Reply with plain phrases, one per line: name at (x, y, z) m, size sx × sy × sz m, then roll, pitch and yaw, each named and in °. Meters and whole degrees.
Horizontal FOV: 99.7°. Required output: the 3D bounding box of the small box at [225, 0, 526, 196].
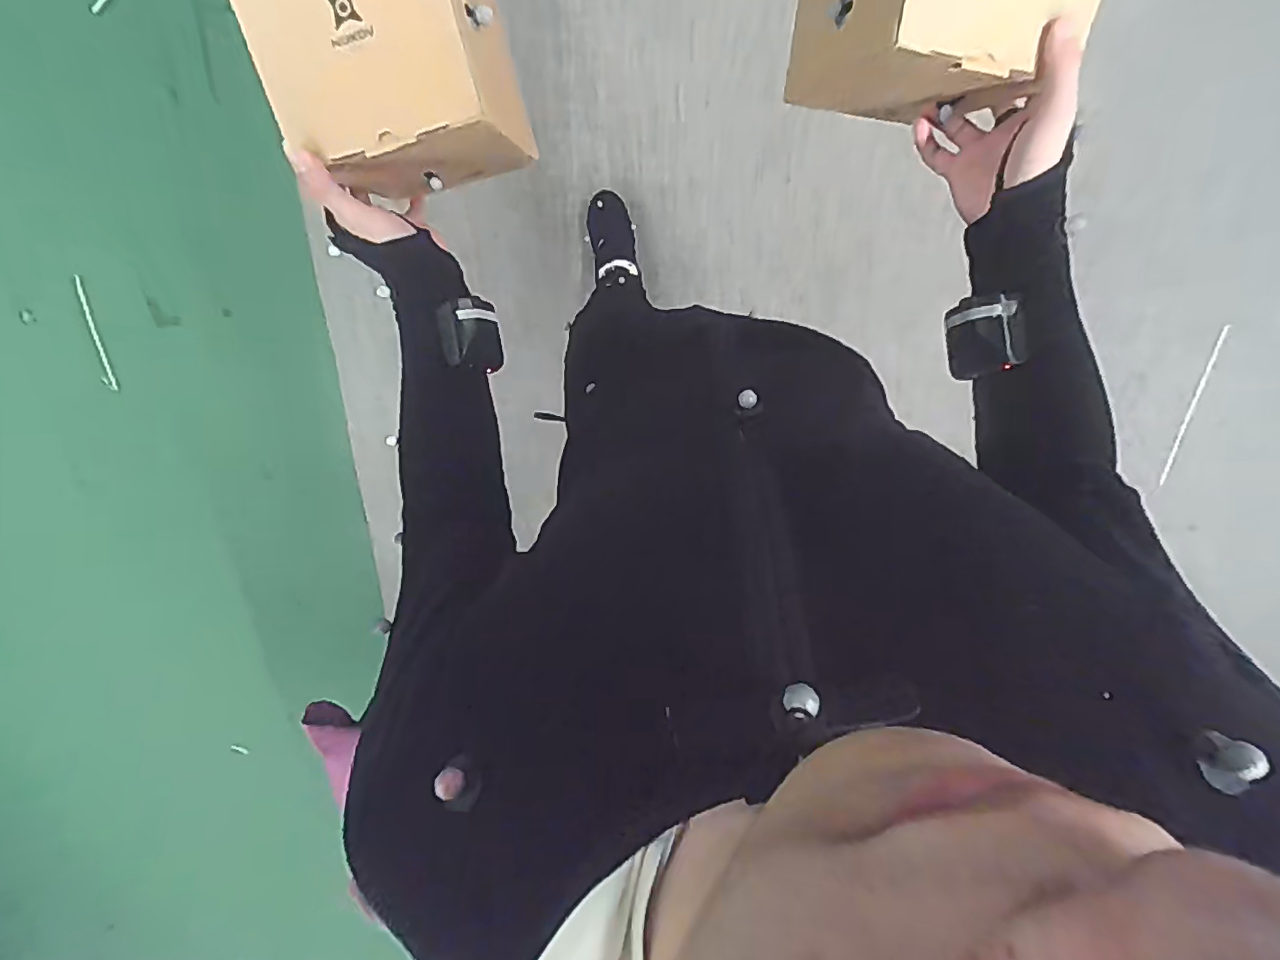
small box at (-0.214, -0.369, 0.467) m, size 0.168 × 0.176 × 0.179 m, roll -10°, pitch 110°, yaw 7°

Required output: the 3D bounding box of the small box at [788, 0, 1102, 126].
small box at (0.240, -0.408, 0.431) m, size 0.168 × 0.176 × 0.179 m, roll 0°, pitch 112°, yaw -16°
